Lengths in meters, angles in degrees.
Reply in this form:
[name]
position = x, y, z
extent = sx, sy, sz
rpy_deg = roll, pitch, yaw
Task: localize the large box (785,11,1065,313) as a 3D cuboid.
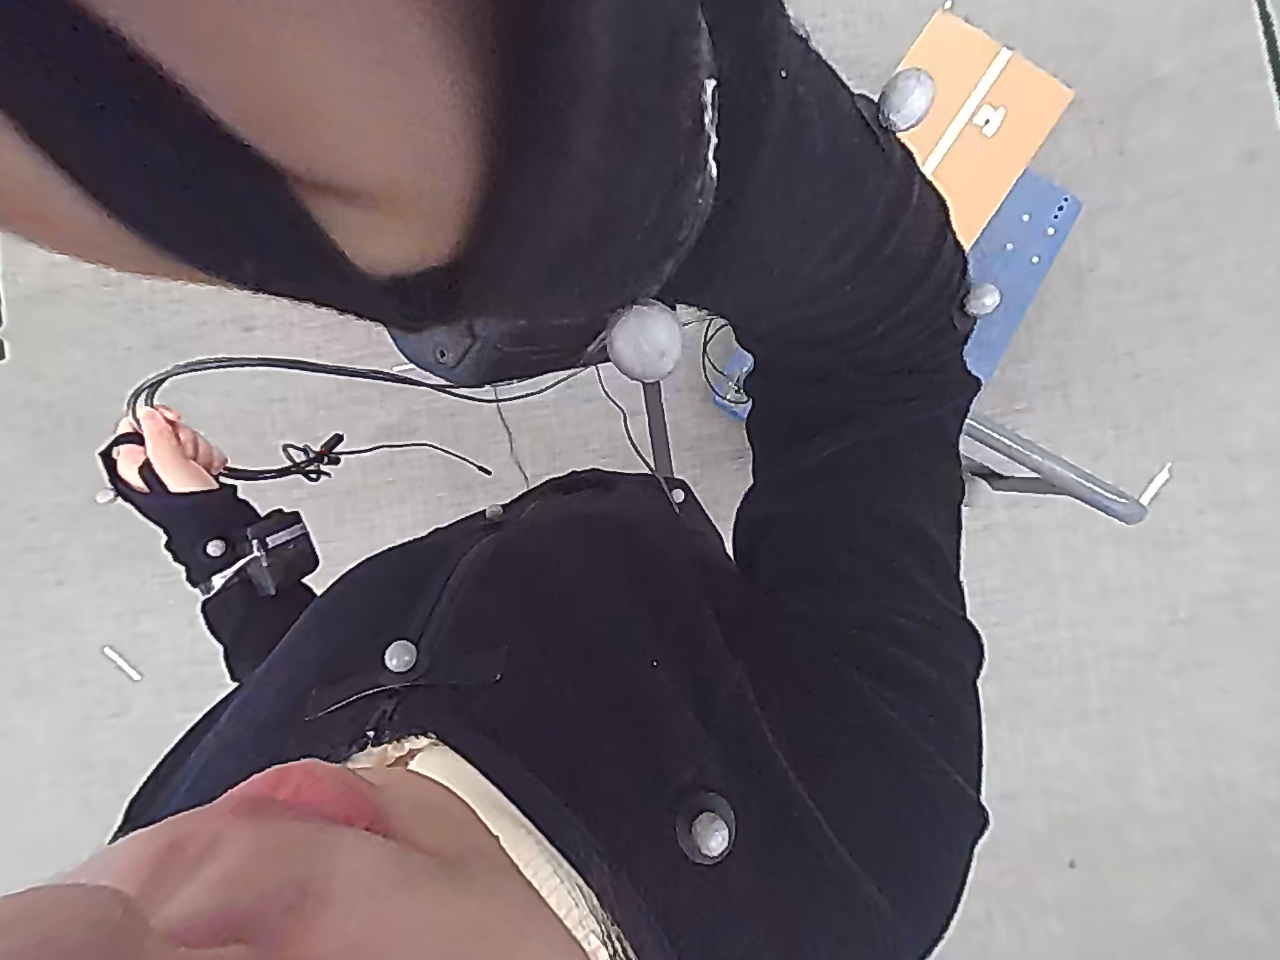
[large box]
position = 0.581, -0.651, 1.180
extent = 0.320, 0.320, 0.408
rpy_deg = 34, 89, 0
